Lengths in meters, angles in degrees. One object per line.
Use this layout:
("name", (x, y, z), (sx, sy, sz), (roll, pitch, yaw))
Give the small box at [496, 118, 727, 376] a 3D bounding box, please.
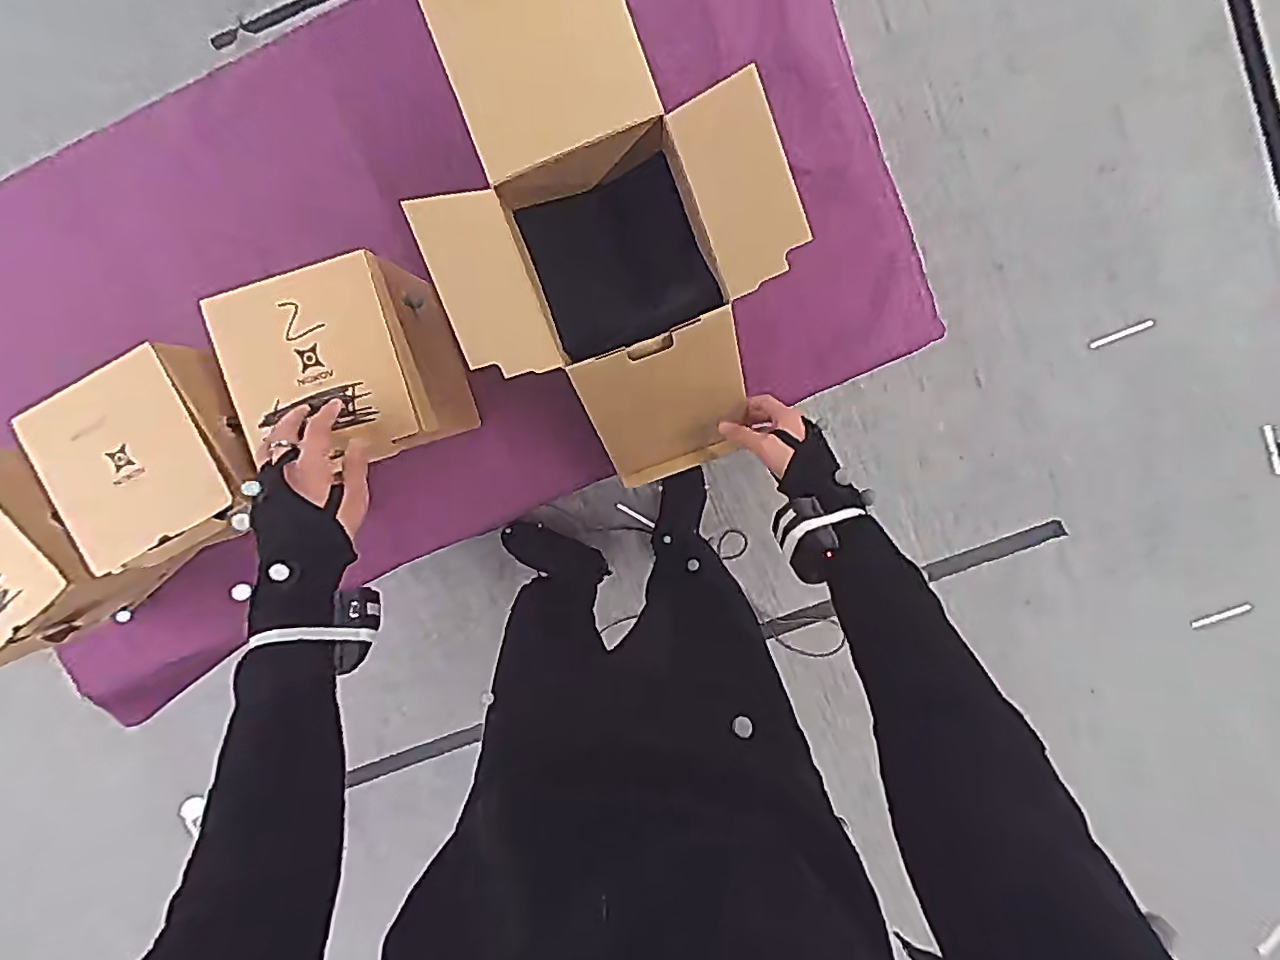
("small box", (-0.023, -0.218, 0.560), (0.168, 0.176, 0.179), (-19, 97, 5))
